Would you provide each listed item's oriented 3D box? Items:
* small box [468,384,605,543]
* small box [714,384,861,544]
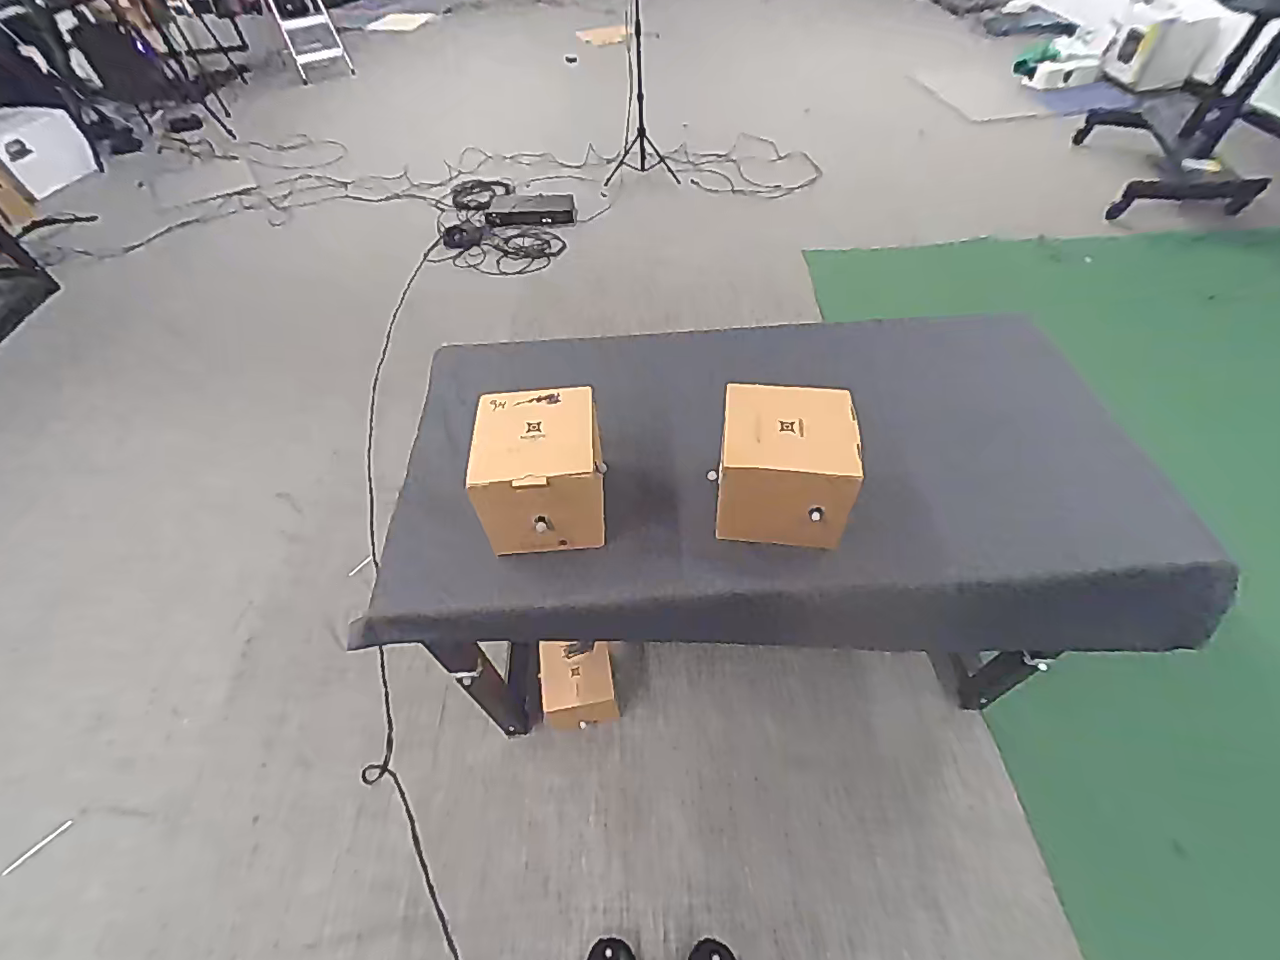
[{"bbox_3d":[-0.141,-0.018,0.804,0.168,0.176,0.179,-4,50,-2],"label":"small box"},{"bbox_3d":[0.206,-0.020,0.796,0.179,0.176,0.168,4,50,7],"label":"small box"}]
